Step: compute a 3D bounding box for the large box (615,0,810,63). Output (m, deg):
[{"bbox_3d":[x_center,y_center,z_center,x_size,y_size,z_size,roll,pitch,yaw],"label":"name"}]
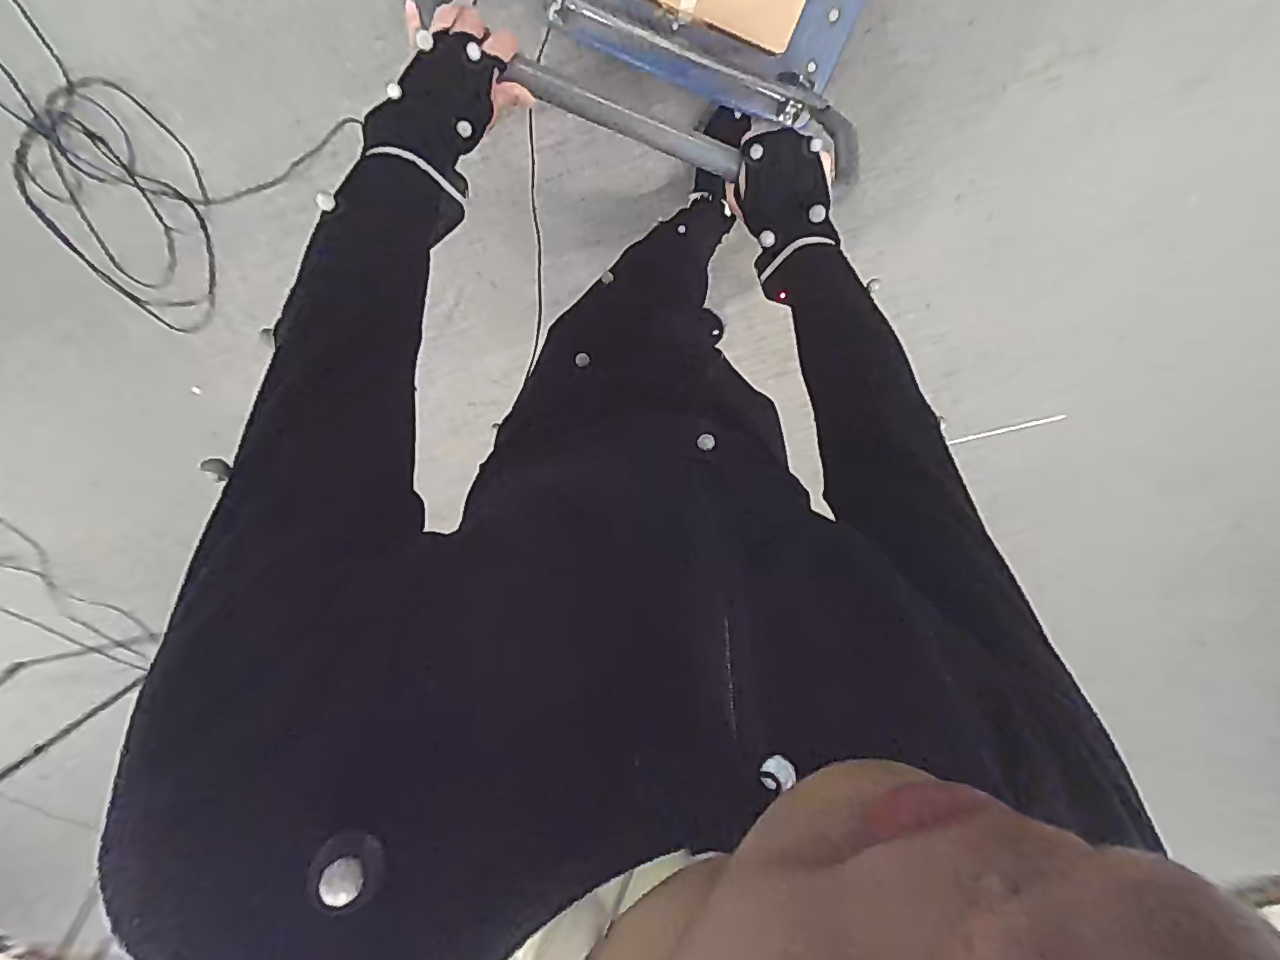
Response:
[{"bbox_3d":[0.145,-0.900,0.780,0.320,0.320,0.408,18,126,-7],"label":"large box"}]
